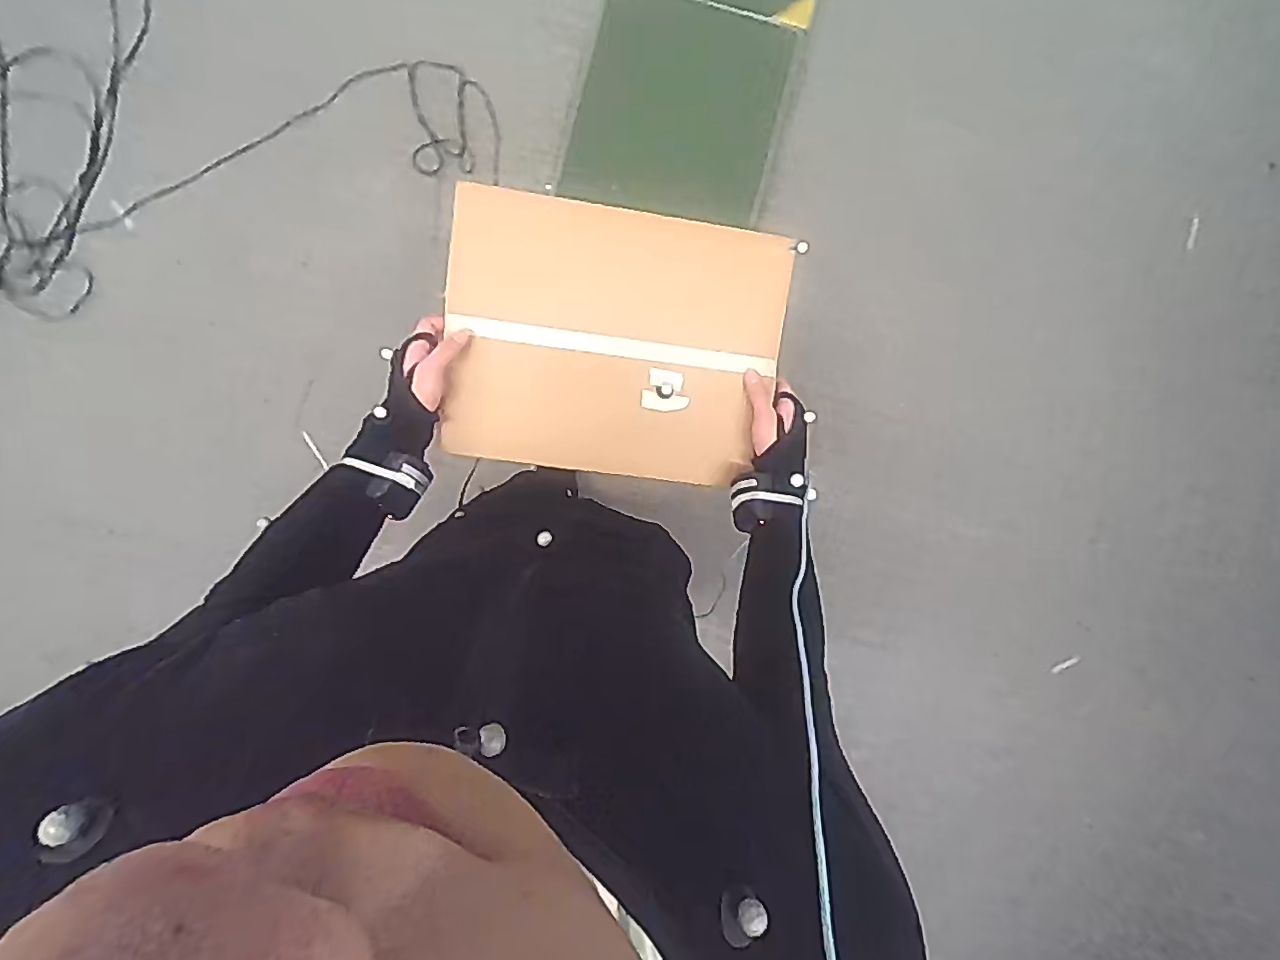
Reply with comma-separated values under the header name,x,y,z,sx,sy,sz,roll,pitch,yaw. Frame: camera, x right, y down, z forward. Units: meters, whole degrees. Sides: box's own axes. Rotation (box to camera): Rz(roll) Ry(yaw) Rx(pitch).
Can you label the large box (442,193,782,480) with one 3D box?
name,x,y,z,sx,sy,sz,roll,pitch,yaw
large box,-0.050,-0.189,0.814,0.408,0.320,0.320,6,99,-6
